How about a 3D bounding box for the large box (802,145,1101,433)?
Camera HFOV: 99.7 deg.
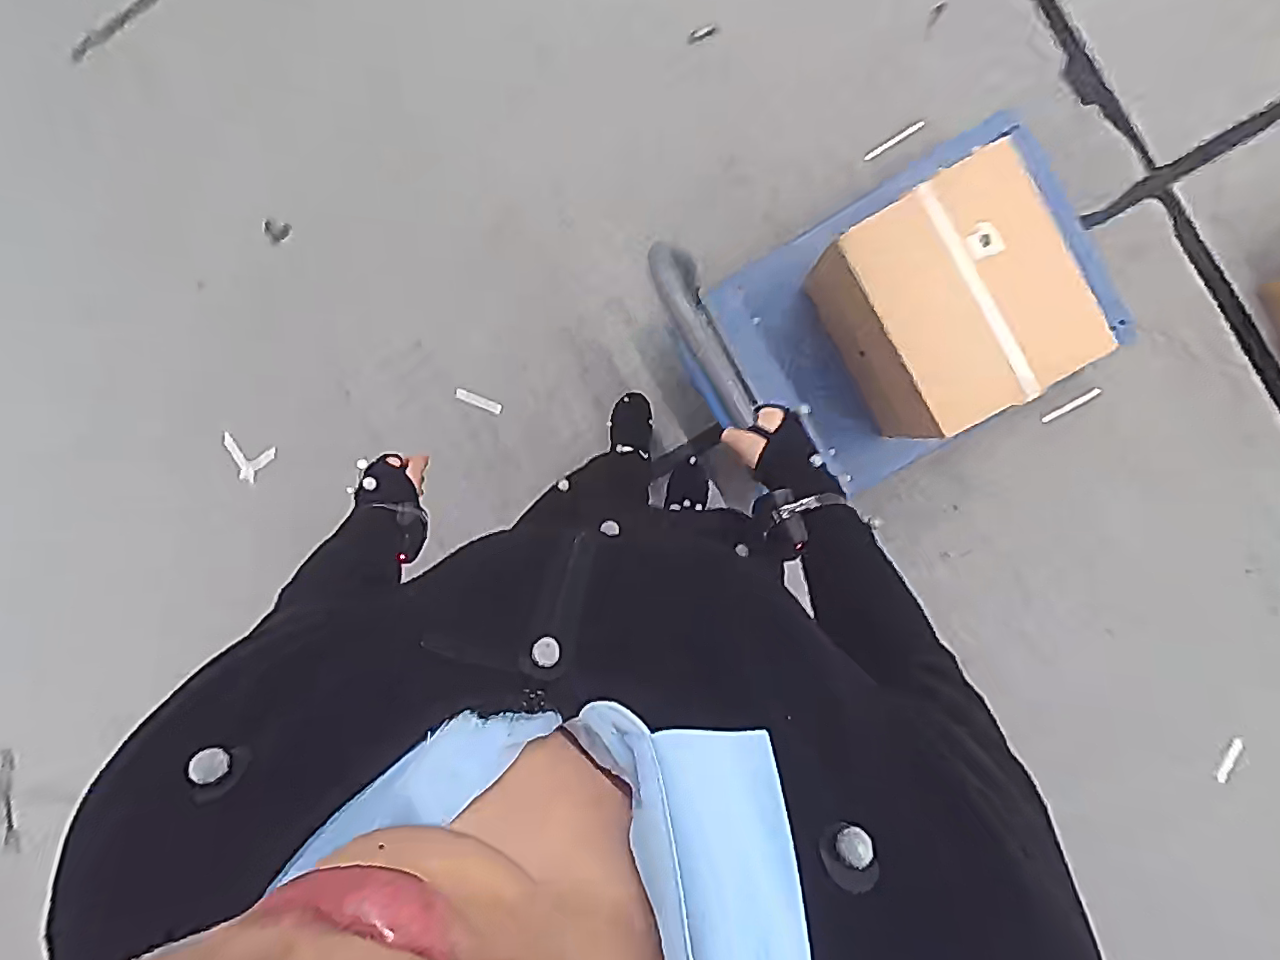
[{"bbox_3d":[0.582,-0.342,1.092,0.320,0.320,0.408,-29,90,6],"label":"large box"}]
